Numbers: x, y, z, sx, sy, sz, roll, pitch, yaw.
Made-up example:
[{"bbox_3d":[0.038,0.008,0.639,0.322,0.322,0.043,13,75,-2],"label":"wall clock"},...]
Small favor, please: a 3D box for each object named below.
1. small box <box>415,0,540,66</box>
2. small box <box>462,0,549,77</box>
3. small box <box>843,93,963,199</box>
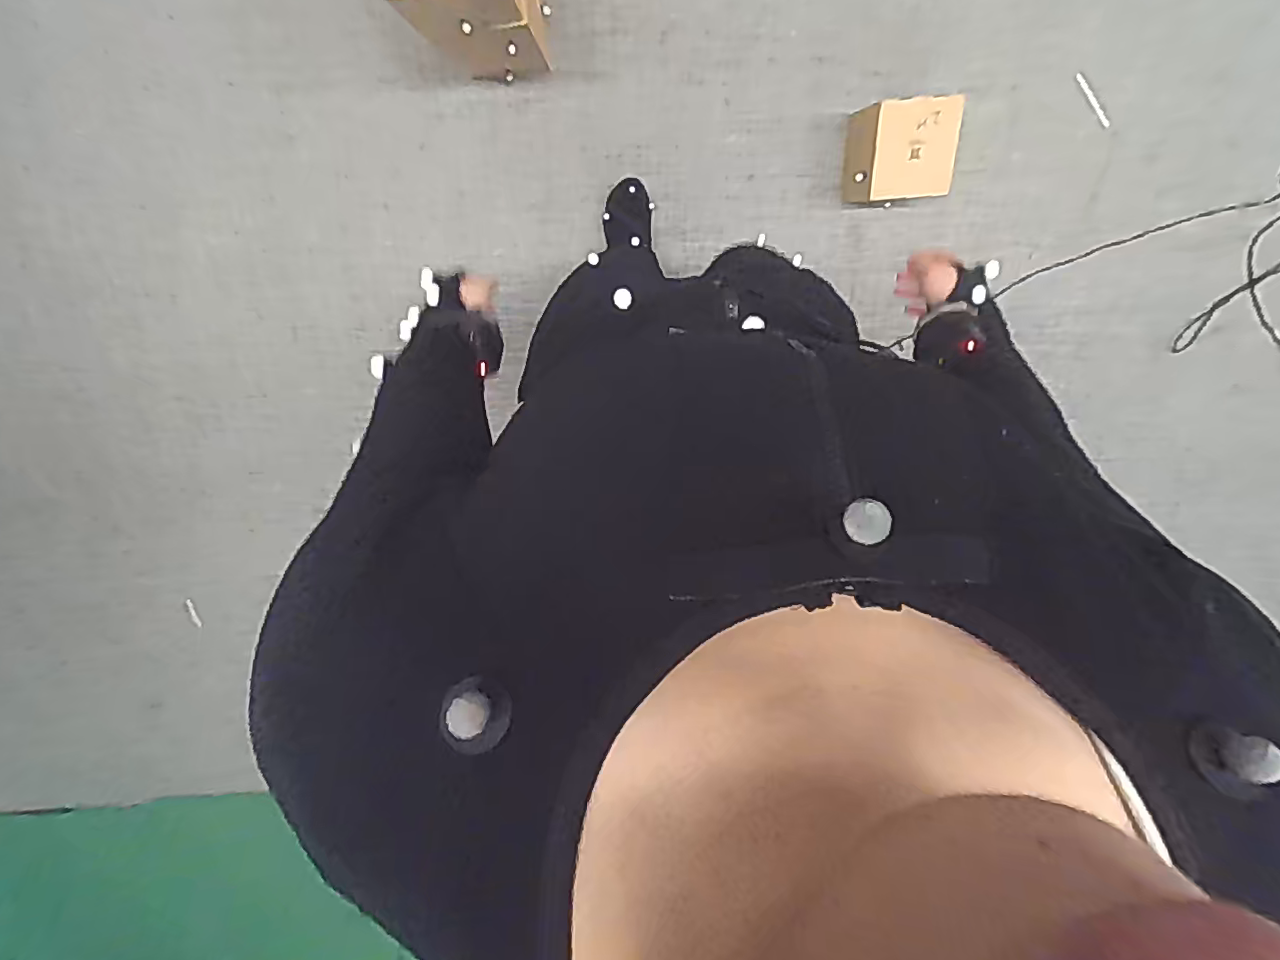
[{"bbox_3d":[-0.272,-0.824,0.906,0.179,0.176,0.168,-5,114,3],"label":"small box"},{"bbox_3d":[-0.275,-0.904,1.049,0.179,0.176,0.168,-4,115,1],"label":"small box"},{"bbox_3d":[0.546,-0.701,1.152,0.168,0.176,0.179,-4,116,1],"label":"small box"}]
